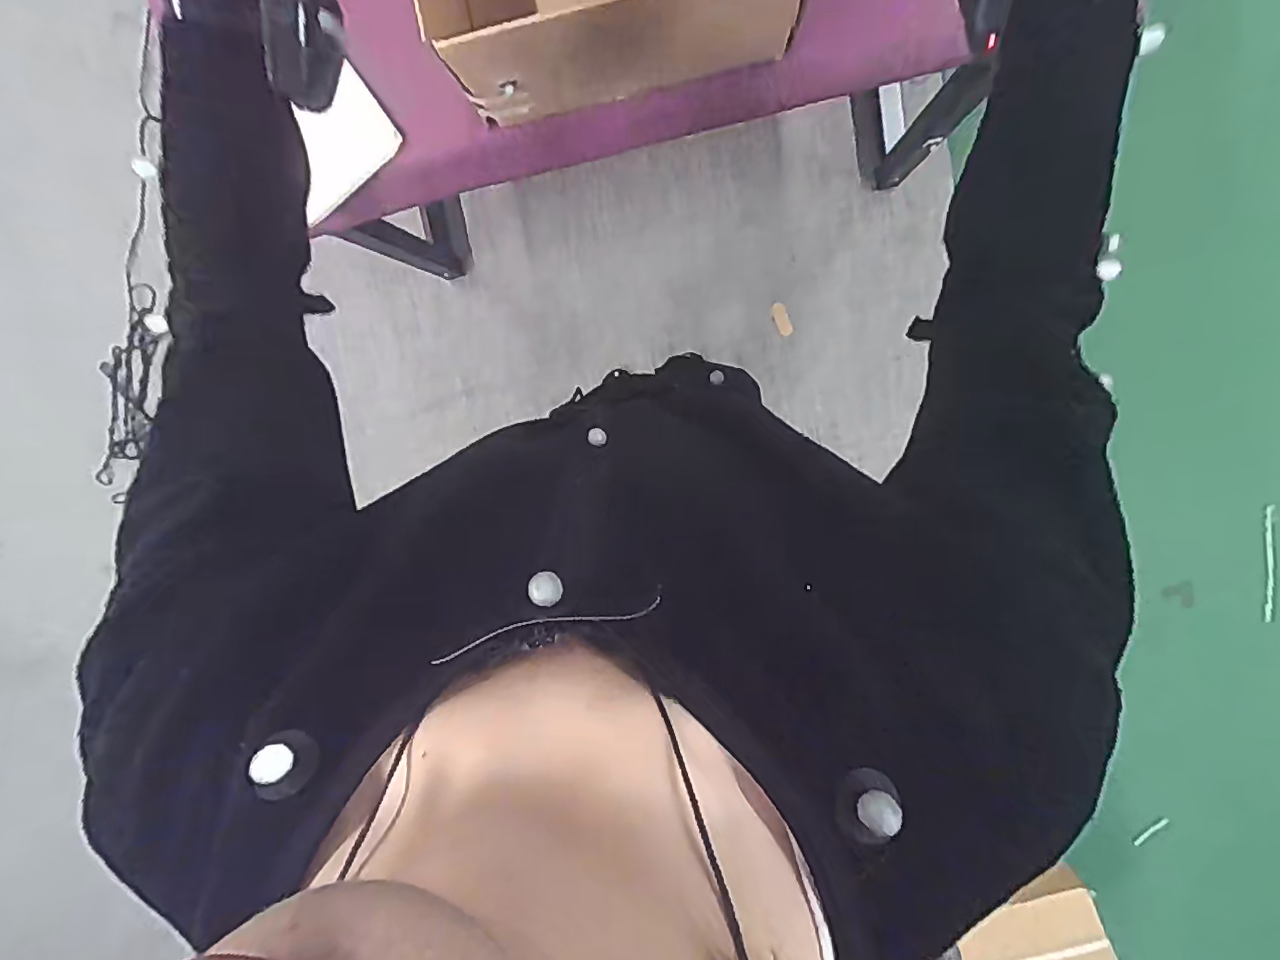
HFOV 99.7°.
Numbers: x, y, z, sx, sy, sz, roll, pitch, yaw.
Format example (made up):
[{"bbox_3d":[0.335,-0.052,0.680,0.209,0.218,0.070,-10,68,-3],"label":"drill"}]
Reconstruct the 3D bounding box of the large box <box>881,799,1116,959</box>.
[{"bbox_3d":[0.943,1.152,1.453,0.408,0.320,0.320,-24,97,9],"label":"large box"}]
